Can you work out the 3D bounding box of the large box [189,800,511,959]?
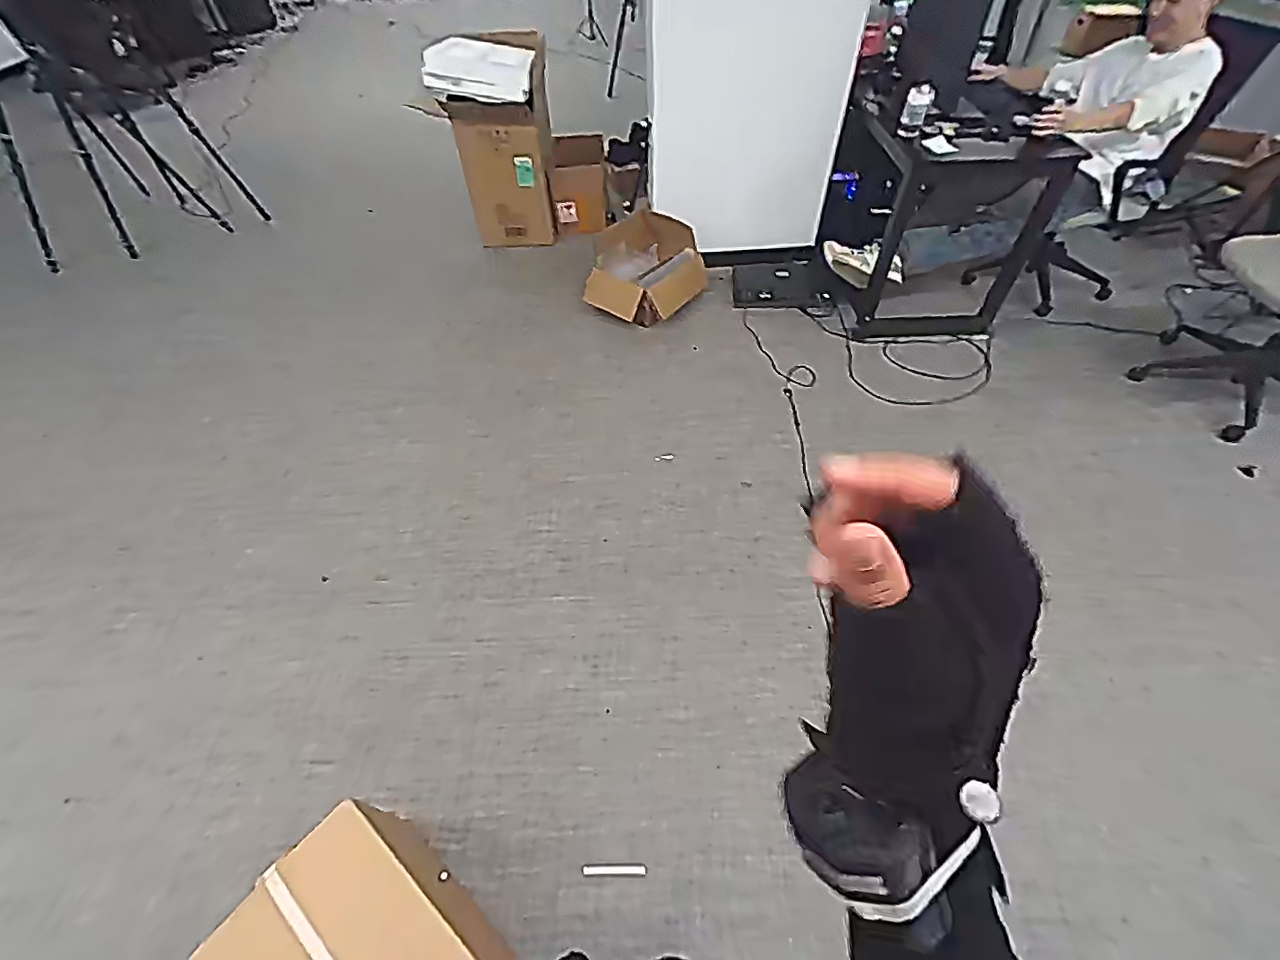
[{"bbox_3d":[-0.513,0.900,1.019,0.408,0.320,0.320,32,58,24],"label":"large box"}]
